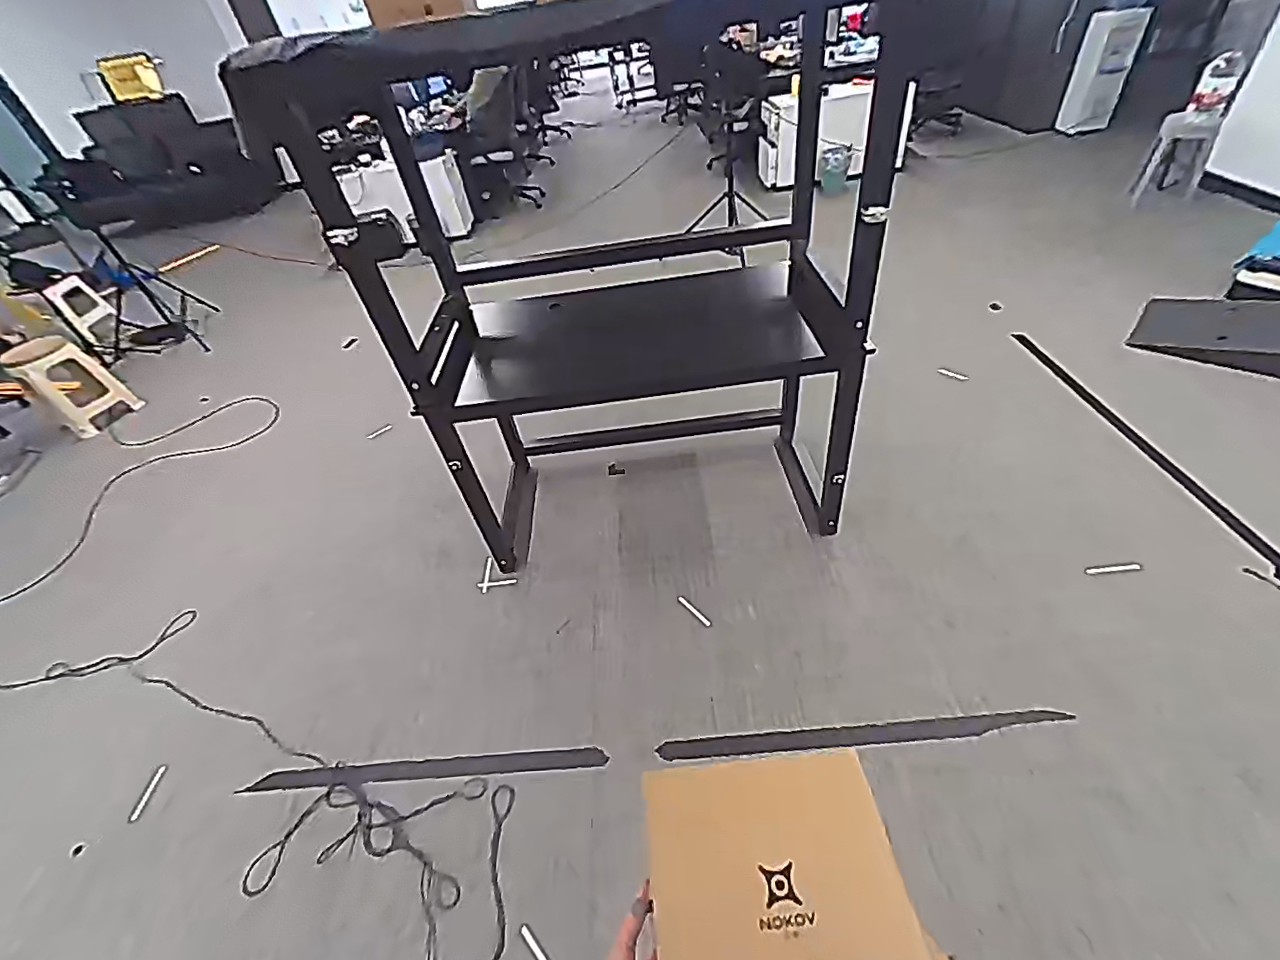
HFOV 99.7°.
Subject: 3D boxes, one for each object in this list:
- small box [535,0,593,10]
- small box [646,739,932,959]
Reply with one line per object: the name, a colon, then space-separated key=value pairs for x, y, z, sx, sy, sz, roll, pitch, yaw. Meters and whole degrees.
small box: x=-0.114 y=-0.936 z=0.932 sx=0.168 sy=0.176 sz=0.179 roll=-7 pitch=41 yaw=3
small box: x=0.092 y=0.322 z=0.404 sx=0.168 sy=0.176 sz=0.179 roll=-5 pitch=44 yaw=-2
